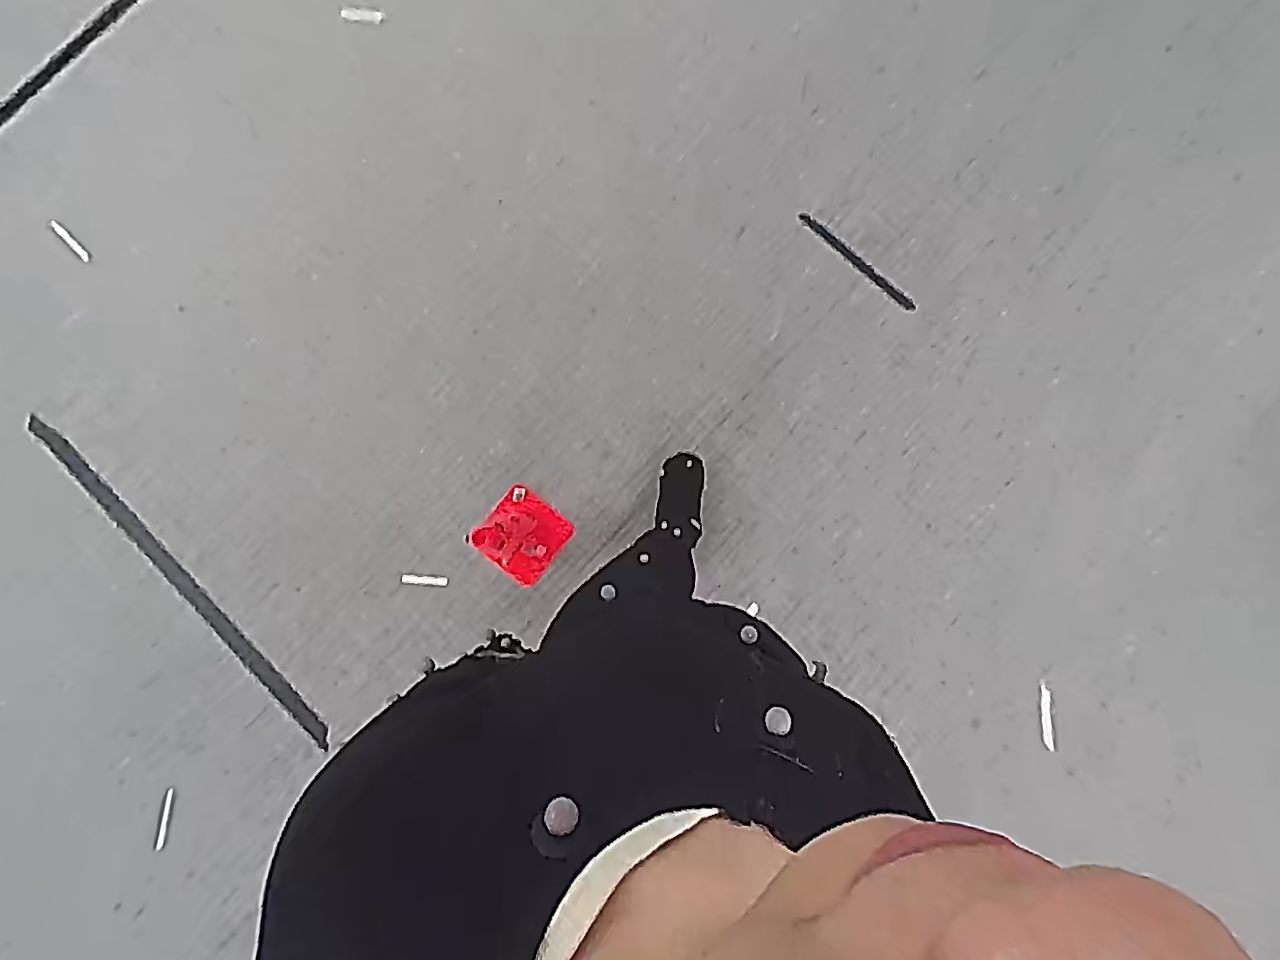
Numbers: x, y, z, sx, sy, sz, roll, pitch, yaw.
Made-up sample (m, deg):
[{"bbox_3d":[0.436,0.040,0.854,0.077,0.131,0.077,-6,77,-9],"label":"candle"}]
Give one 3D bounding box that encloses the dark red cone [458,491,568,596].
[{"bbox_3d":[-0.305,0.142,1.166,0.202,0.394,0.201,36,88,4],"label":"dark red cone"}]
